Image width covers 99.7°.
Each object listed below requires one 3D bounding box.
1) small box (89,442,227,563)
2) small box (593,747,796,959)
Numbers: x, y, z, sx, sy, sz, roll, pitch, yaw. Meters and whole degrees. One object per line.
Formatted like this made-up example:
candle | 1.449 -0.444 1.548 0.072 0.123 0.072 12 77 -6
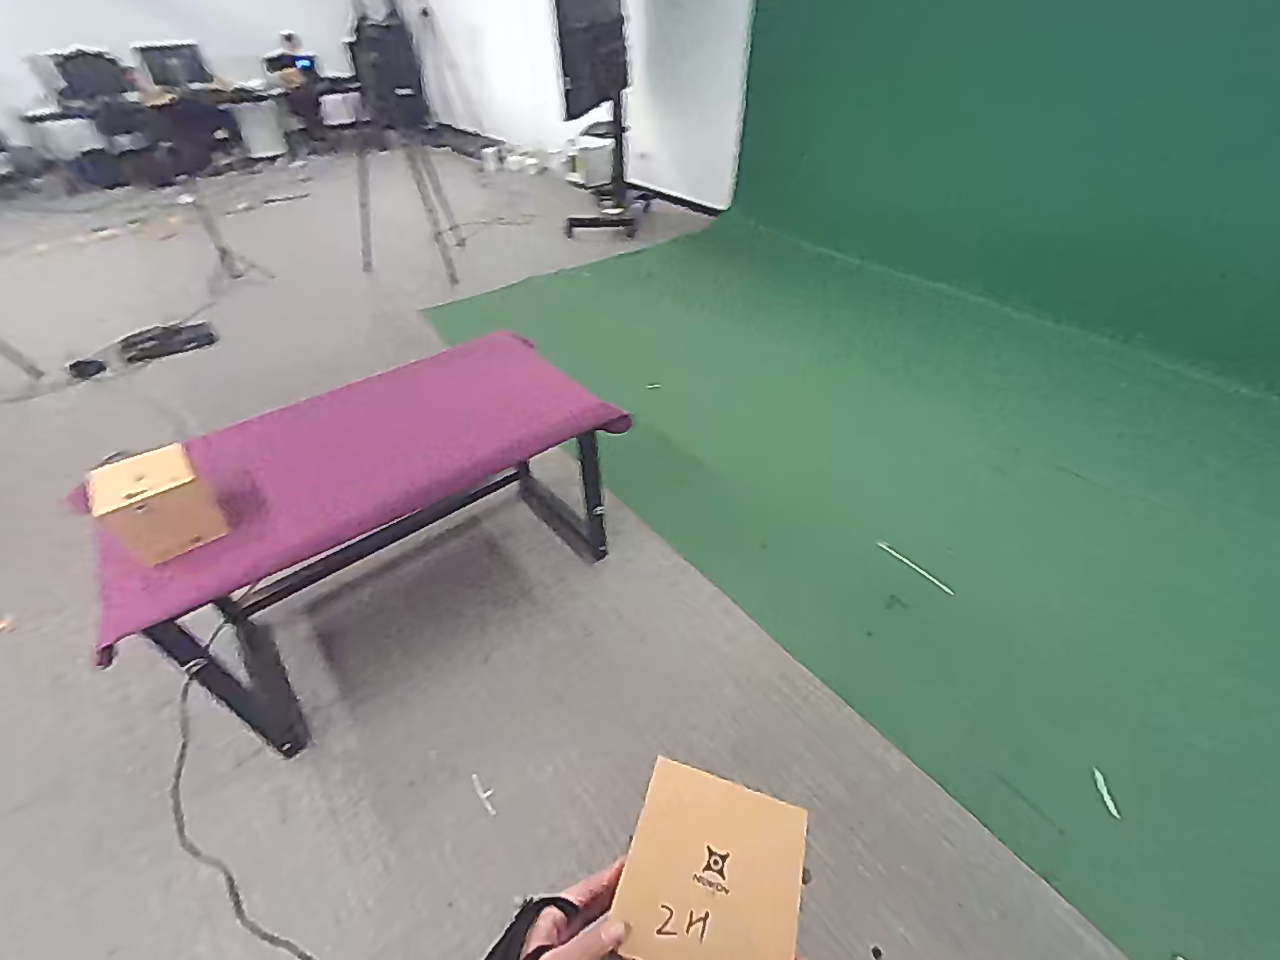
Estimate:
small box | -1.056 0.049 1.193 0.168 0.176 0.179 -30 49 -29
small box | 0.055 0.425 0.567 0.168 0.176 0.179 14 41 12
